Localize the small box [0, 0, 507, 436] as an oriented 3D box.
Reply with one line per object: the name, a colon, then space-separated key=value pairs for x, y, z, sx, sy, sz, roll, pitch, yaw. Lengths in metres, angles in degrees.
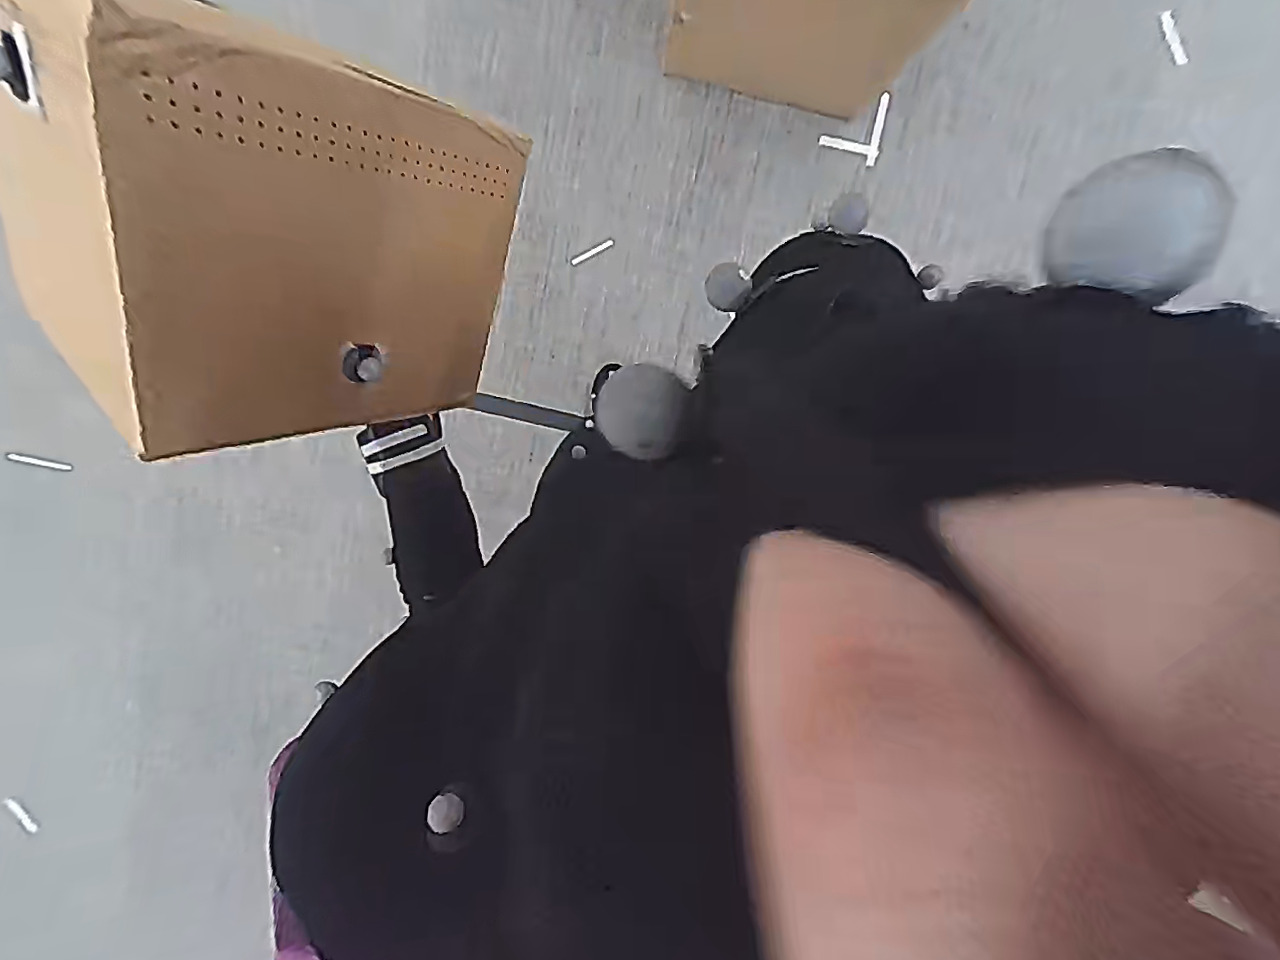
small box: x=-0.196 y=-0.148 z=0.284 sx=0.168 sy=0.179 sz=0.176 roll=36 pitch=122 yaw=24
